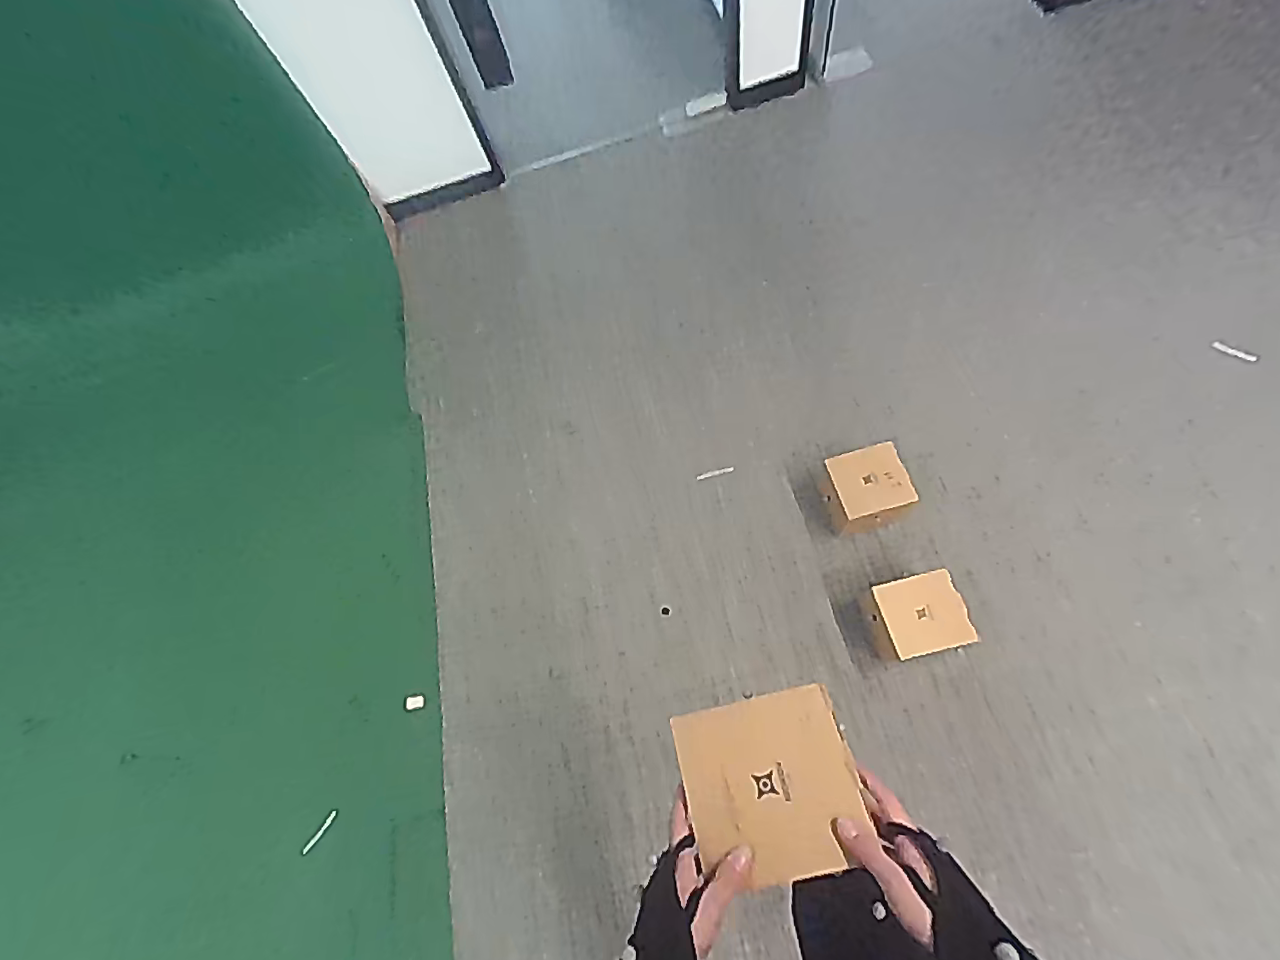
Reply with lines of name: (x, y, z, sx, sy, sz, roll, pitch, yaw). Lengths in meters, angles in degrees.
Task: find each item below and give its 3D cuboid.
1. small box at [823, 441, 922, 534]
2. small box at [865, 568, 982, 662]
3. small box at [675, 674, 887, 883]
small box: (0.580, 0.026, 1.382, 0.179, 0.176, 0.168, -15, 67, 4)
small box: (0.642, 0.320, 1.258, 0.179, 0.176, 0.168, -15, 67, 3)
small box: (0.150, 0.332, 0.618, 0.179, 0.176, 0.168, -15, 61, 5)
